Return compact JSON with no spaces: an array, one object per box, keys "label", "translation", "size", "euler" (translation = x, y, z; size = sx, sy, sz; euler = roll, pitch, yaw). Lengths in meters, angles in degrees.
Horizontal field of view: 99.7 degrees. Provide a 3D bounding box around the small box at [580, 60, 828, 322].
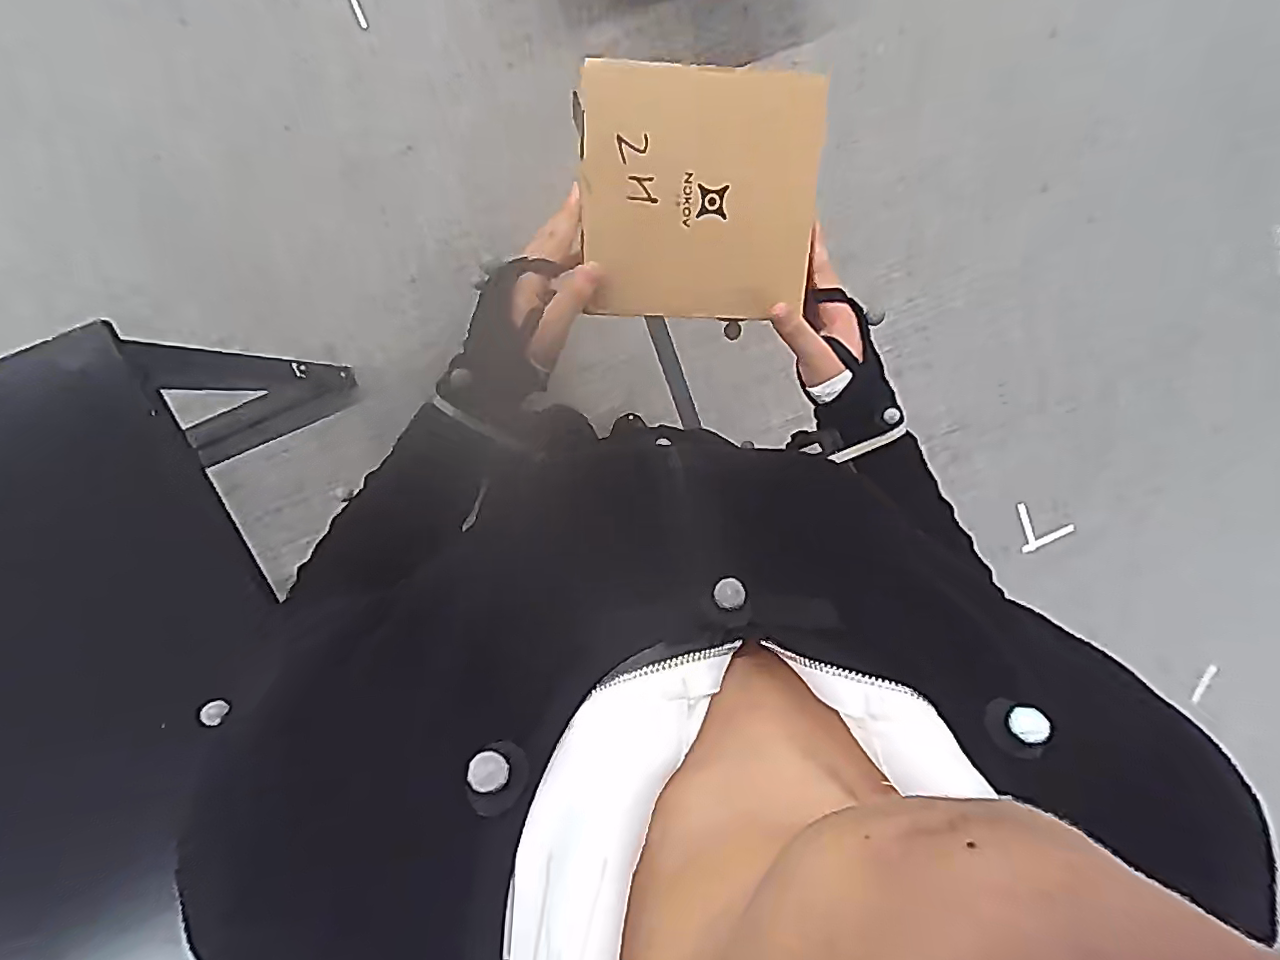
[{"label":"small box","translation":[0.037,-0.229,0.472],"size":[0.179,0.176,0.168],"euler":[0,107,-5]}]
